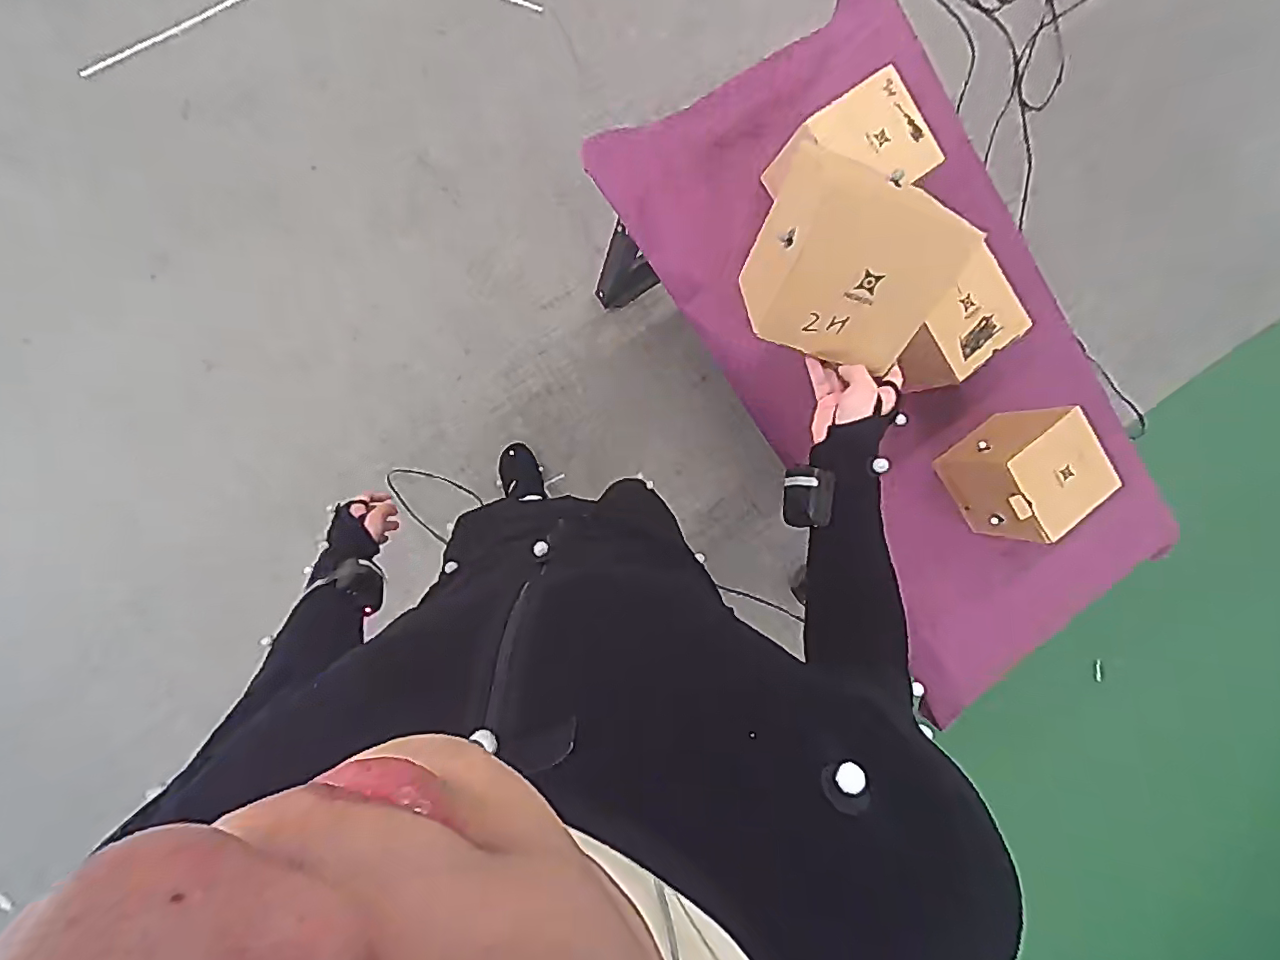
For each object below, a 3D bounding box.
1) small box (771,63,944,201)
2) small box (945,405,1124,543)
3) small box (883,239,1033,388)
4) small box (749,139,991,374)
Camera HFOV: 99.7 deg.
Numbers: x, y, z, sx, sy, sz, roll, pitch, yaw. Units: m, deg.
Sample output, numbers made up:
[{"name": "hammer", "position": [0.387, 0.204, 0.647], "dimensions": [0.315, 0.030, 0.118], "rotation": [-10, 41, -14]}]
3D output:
[{"name": "small box", "position": [0.339, -0.511, 0.884], "dimensions": [0.179, 0.176, 0.168], "rotation": [-36, 98, -6]}, {"name": "small box", "position": [0.684, -0.011, 0.963], "dimensions": [0.179, 0.176, 0.168], "rotation": [-35, 98, -8]}, {"name": "small box", "position": [0.502, -0.272, 0.922], "dimensions": [0.168, 0.176, 0.179], "rotation": [-36, 96, -7]}, {"name": "small box", "position": [0.237, -0.257, 0.617], "dimensions": [0.168, 0.176, 0.179], "rotation": [16, 130, -12]}]
